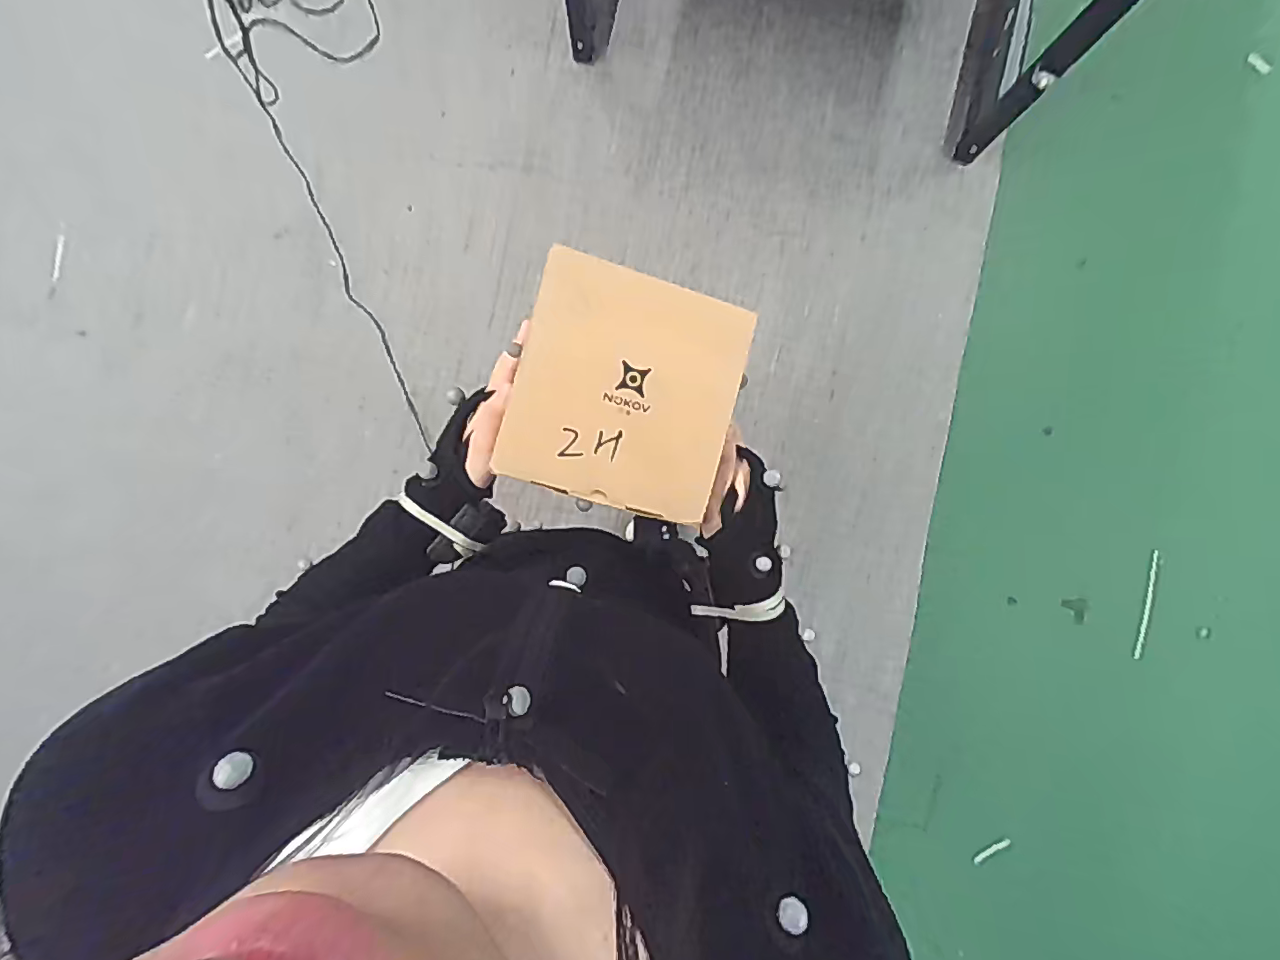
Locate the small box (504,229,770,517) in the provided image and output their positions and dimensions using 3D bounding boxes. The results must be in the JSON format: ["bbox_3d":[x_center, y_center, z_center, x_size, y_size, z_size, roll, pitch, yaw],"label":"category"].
[{"bbox_3d":[-0.012,-0.078,0.477,0.168,0.176,0.179,16,89,-9],"label":"small box"}]
